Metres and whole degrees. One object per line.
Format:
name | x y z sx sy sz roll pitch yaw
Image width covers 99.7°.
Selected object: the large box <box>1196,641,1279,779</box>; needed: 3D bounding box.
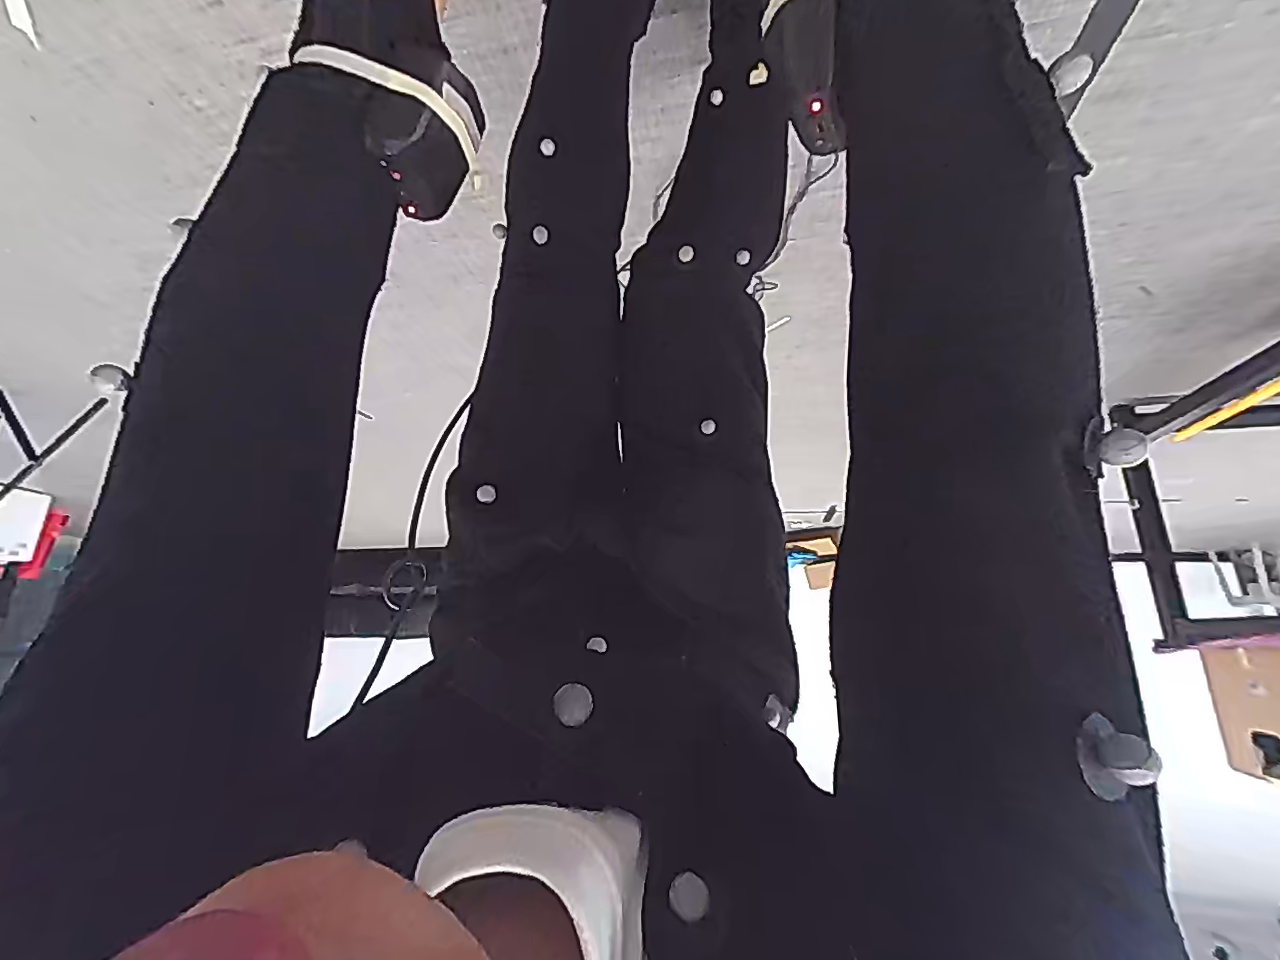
large box | 1.689 0.539 1.270 0.408 0.320 0.320 -4 164 13
